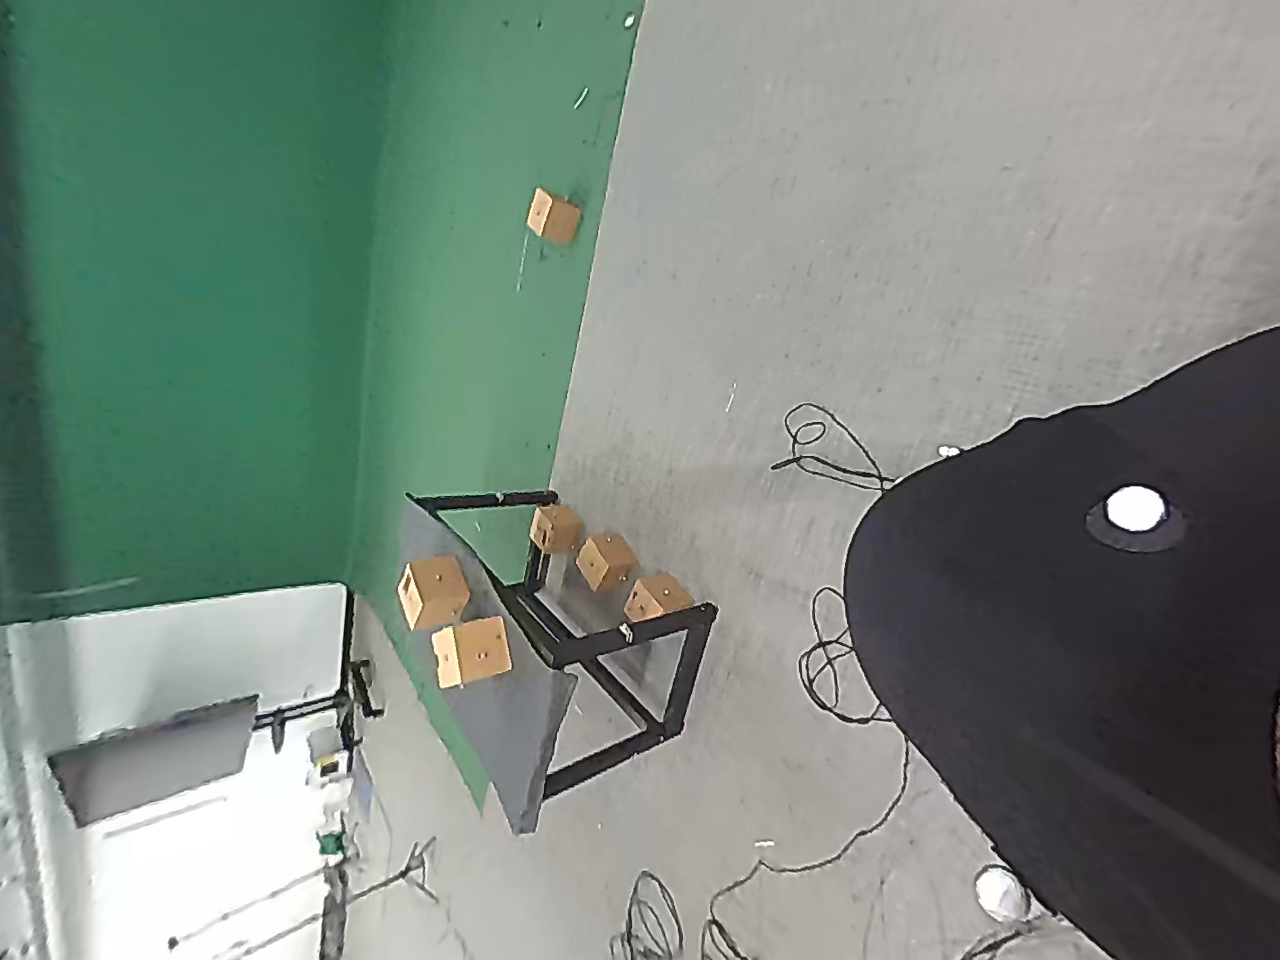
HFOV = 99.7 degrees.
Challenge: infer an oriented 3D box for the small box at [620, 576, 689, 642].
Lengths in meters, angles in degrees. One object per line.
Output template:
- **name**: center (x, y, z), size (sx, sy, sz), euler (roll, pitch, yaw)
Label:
- **small box**: center (0.059, 0.490, 2.088), size (0.179, 0.176, 0.168), euler (43, 121, 37)

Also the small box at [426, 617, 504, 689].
- **small box**: center (-0.528, 0.527, 1.653), size (0.179, 0.176, 0.168), euler (-30, 70, 44)

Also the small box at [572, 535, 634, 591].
- **small box**: center (-0.159, 0.351, 2.320), size (0.179, 0.176, 0.168), euler (51, 126, 32)

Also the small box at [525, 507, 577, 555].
- **small box**: center (-0.427, 0.239, 2.605), size (0.179, 0.176, 0.168), euler (37, 117, 41)

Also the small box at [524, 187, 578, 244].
- **small box**: center (-0.419, -1.244, 2.552), size (0.168, 0.176, 0.179), euler (51, 125, 33)
